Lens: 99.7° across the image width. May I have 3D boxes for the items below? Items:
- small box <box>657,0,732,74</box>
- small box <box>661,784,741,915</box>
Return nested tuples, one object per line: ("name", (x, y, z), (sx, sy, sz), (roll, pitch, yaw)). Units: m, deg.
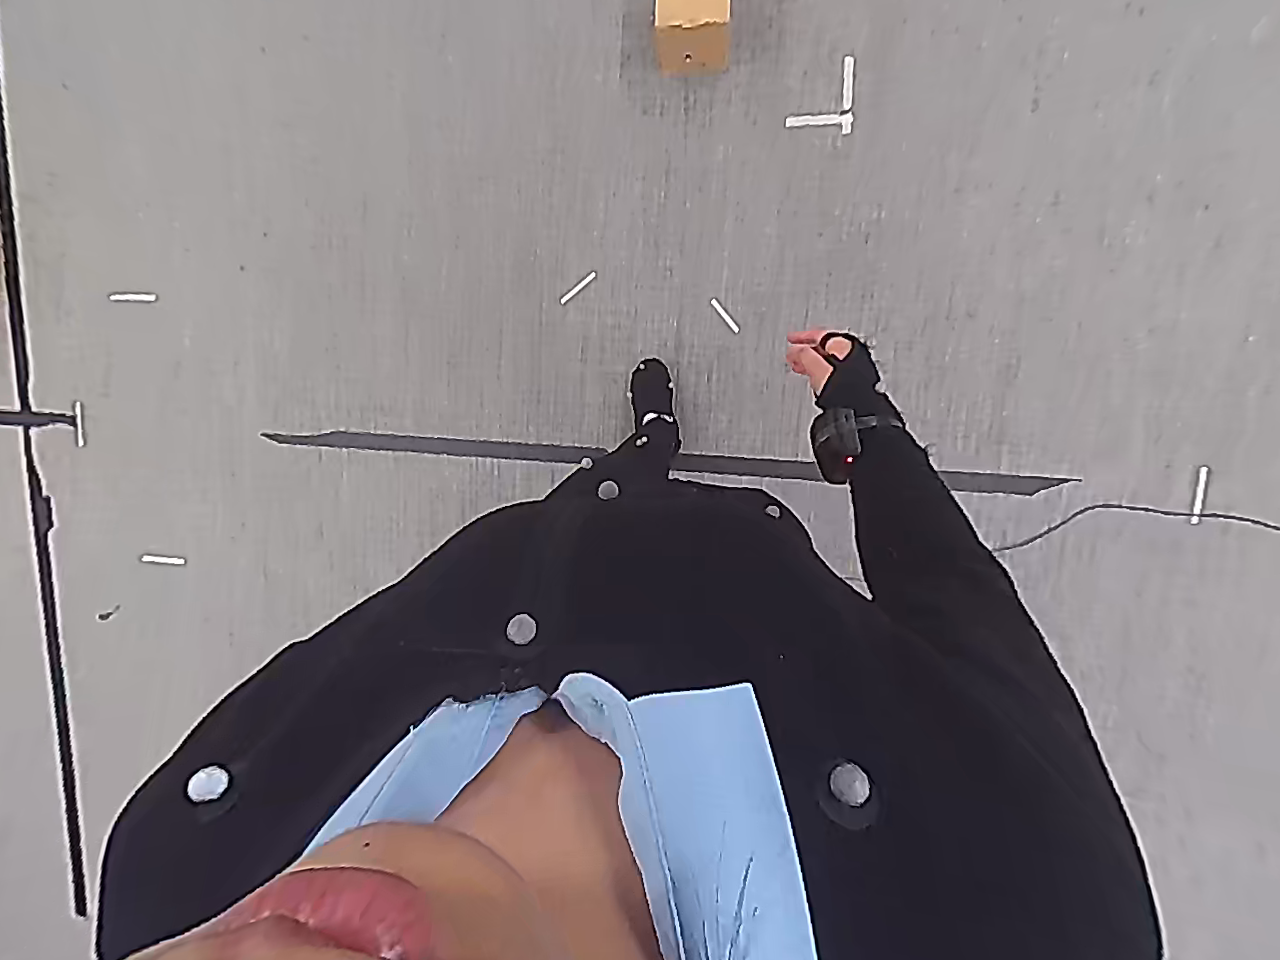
("small box", (0.128, -1.090, 1.256), (0.168, 0.176, 0.179), (1, 97, 7))
("small box", (0.144, 0.863, 1.276), (0.168, 0.176, 0.179), (5, 96, 6))
